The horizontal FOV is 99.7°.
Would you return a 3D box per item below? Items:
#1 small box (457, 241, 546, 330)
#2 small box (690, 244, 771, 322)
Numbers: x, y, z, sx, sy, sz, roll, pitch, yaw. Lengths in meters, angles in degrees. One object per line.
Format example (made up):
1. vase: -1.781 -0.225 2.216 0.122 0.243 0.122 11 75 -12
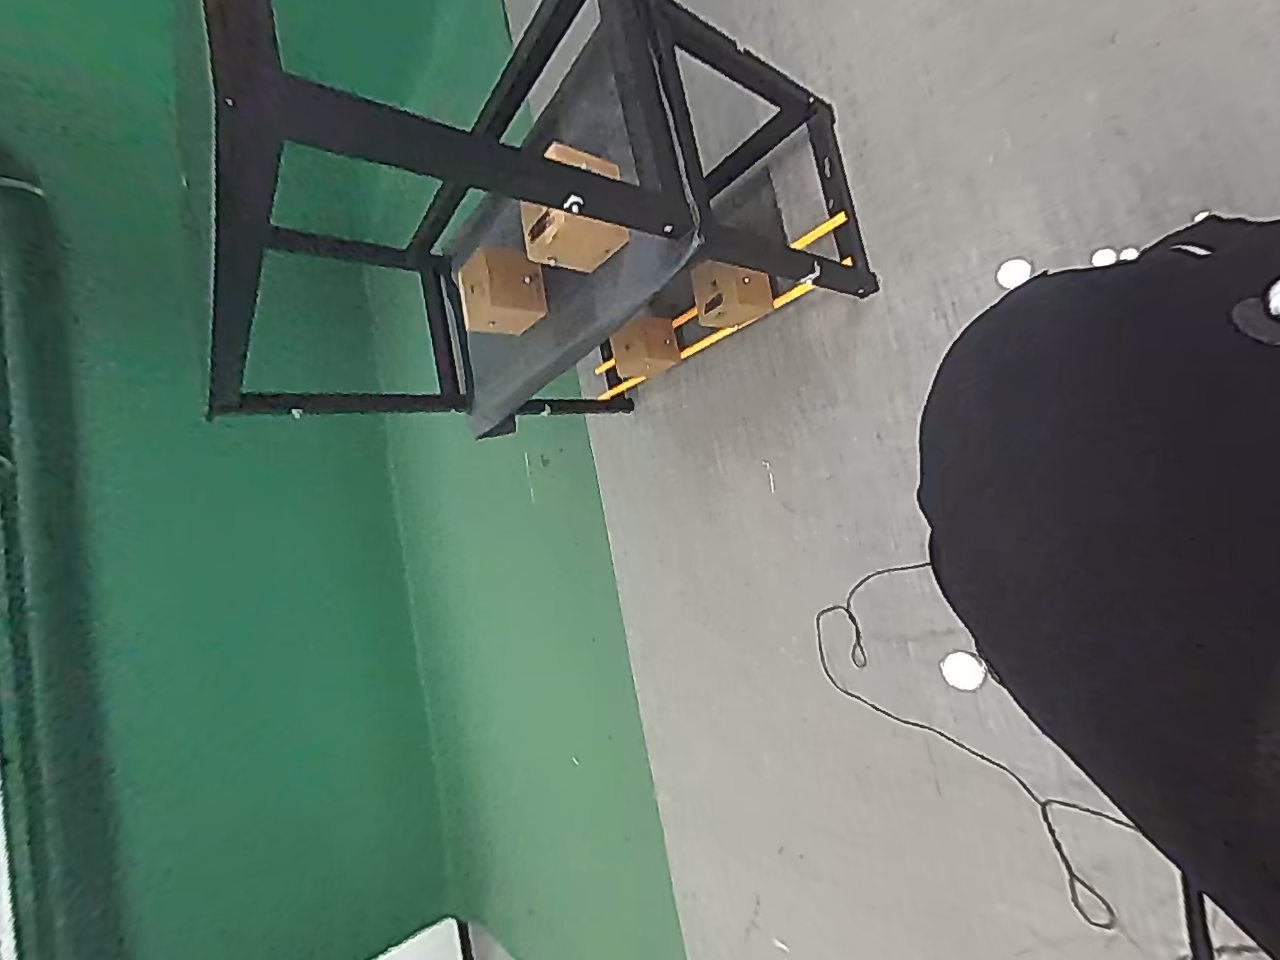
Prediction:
1. small box: -0.379 -0.521 1.478 0.179 0.176 0.168 -13 86 50
2. small box: 0.282 -0.593 1.655 0.168 0.176 0.179 -13 86 50
